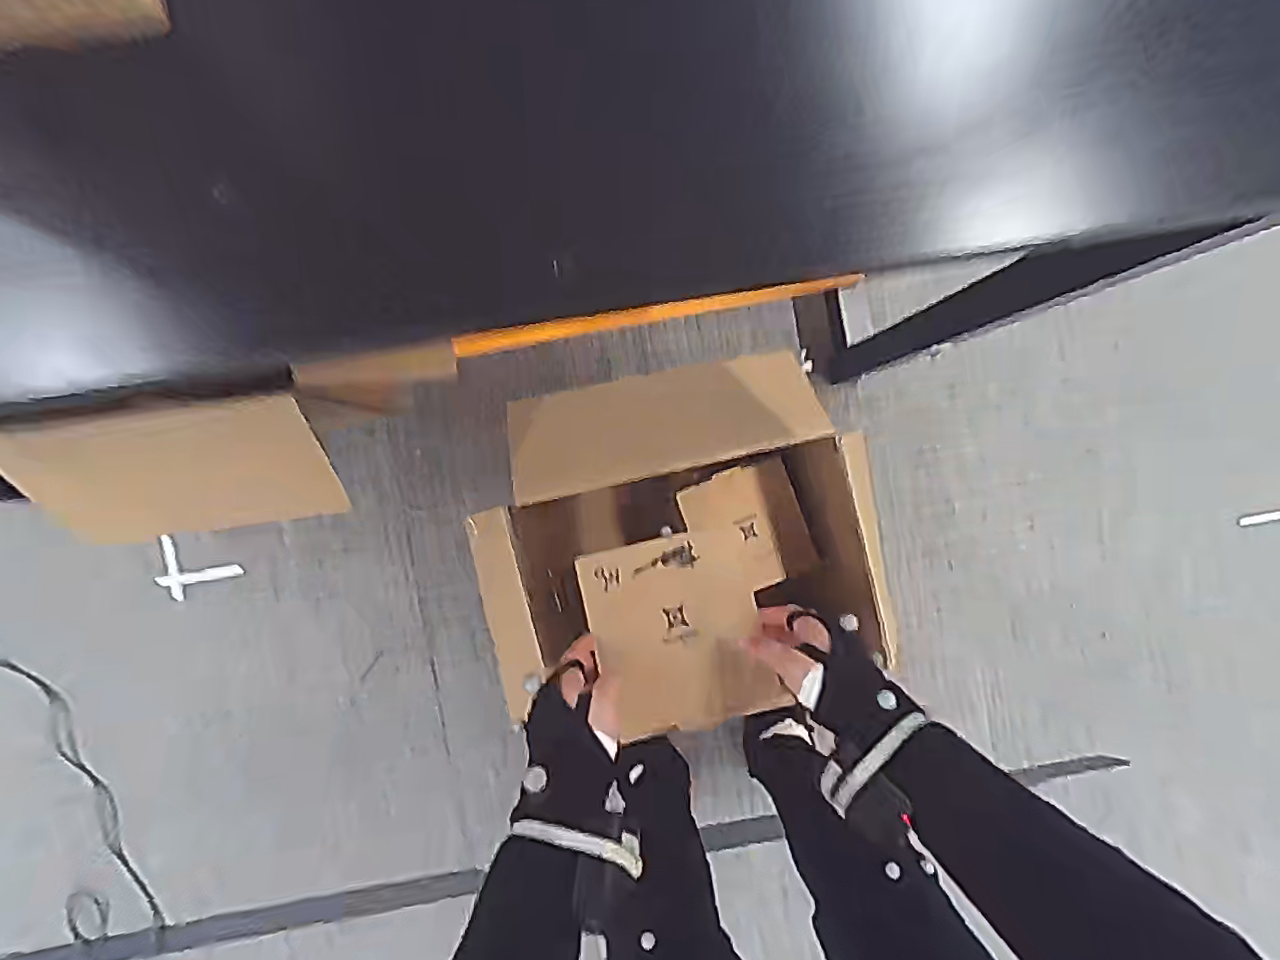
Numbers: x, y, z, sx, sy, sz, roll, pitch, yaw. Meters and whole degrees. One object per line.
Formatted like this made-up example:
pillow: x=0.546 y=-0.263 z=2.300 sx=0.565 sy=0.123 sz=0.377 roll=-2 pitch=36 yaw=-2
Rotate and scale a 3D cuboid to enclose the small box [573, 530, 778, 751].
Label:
small box: x=0.028 y=0.168 z=0.593 sx=0.168 sy=0.176 sz=0.179 roll=-13 pitch=75 yaw=-7
